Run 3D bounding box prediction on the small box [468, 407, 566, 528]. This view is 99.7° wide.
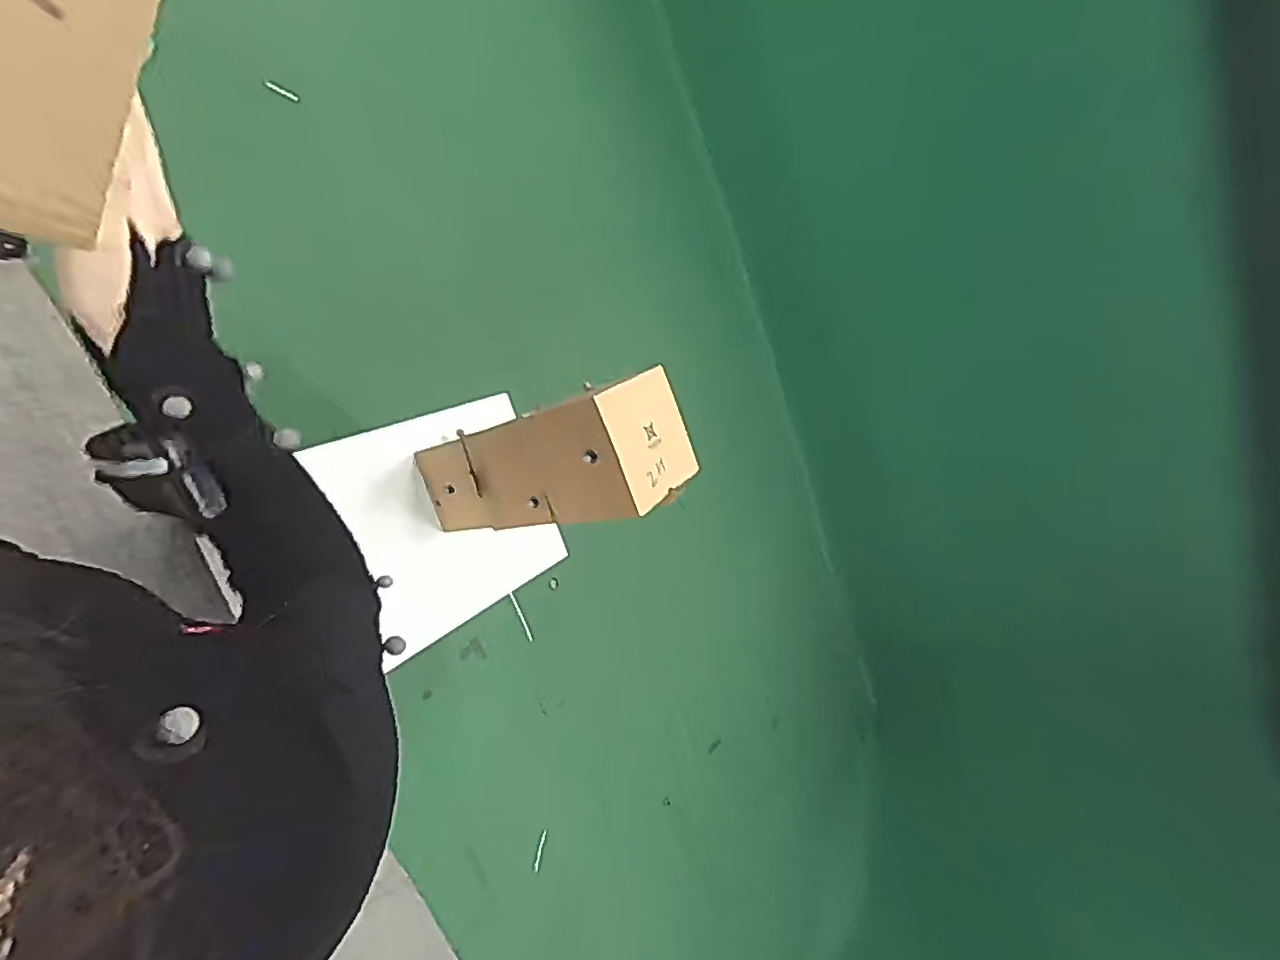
[{"bbox_3d":[-0.163,-0.027,0.919,0.168,0.176,0.179,-25,103,-49],"label":"small box"}]

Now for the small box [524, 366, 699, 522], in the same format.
[{"bbox_3d":[-0.043,-0.050,0.808,0.168,0.176,0.179,-35,111,-46],"label":"small box"}]

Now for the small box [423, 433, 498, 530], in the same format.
[{"bbox_3d":[-0.285,-0.012,1.025,0.179,0.176,0.168,-29,105,-48],"label":"small box"}]
